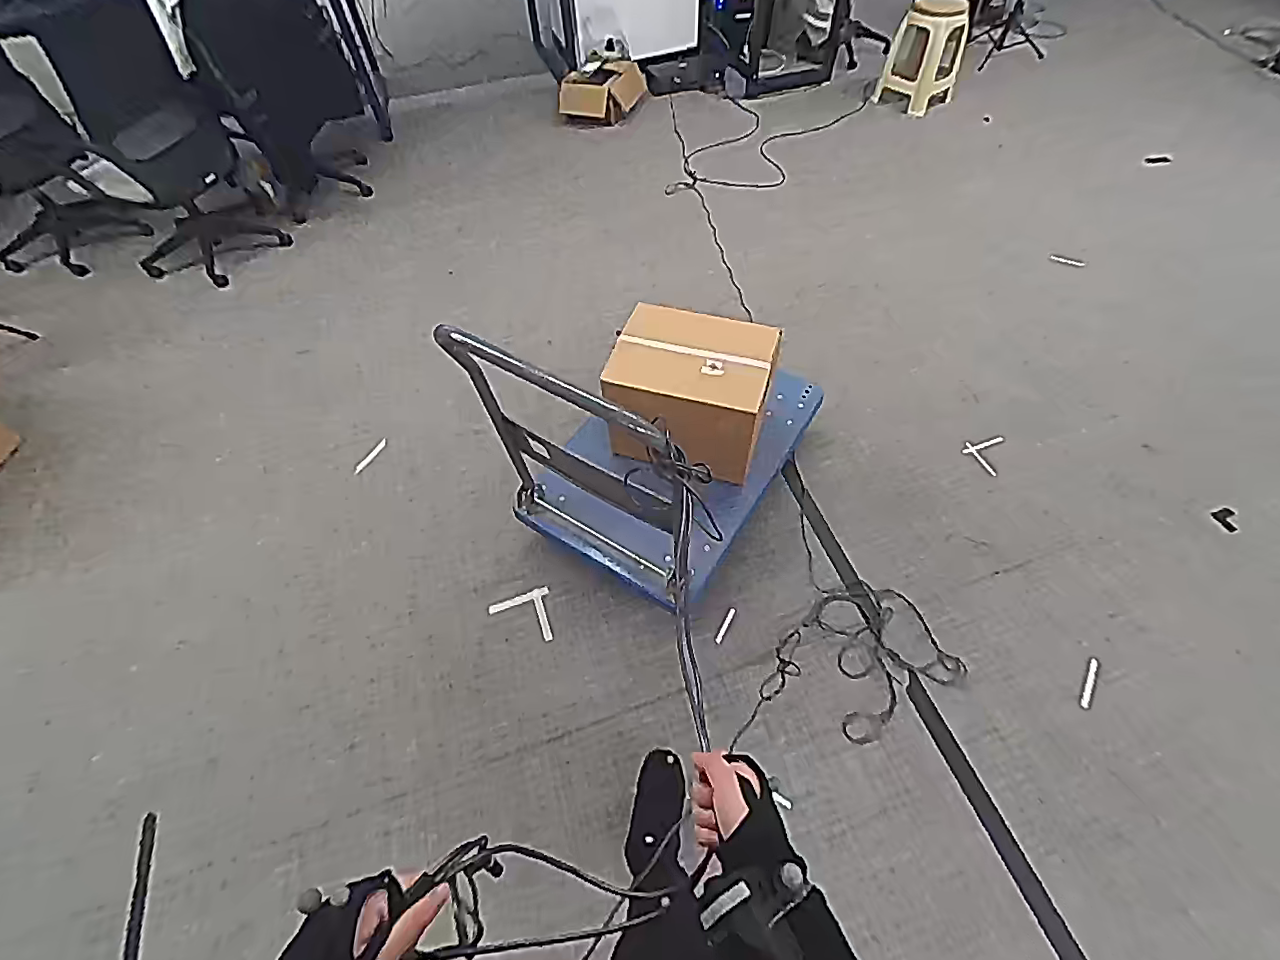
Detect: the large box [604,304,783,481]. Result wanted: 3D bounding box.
[{"bbox_3d":[0.145,-0.239,1.503,0.408,0.320,0.320,15,59,12],"label":"large box"}]
